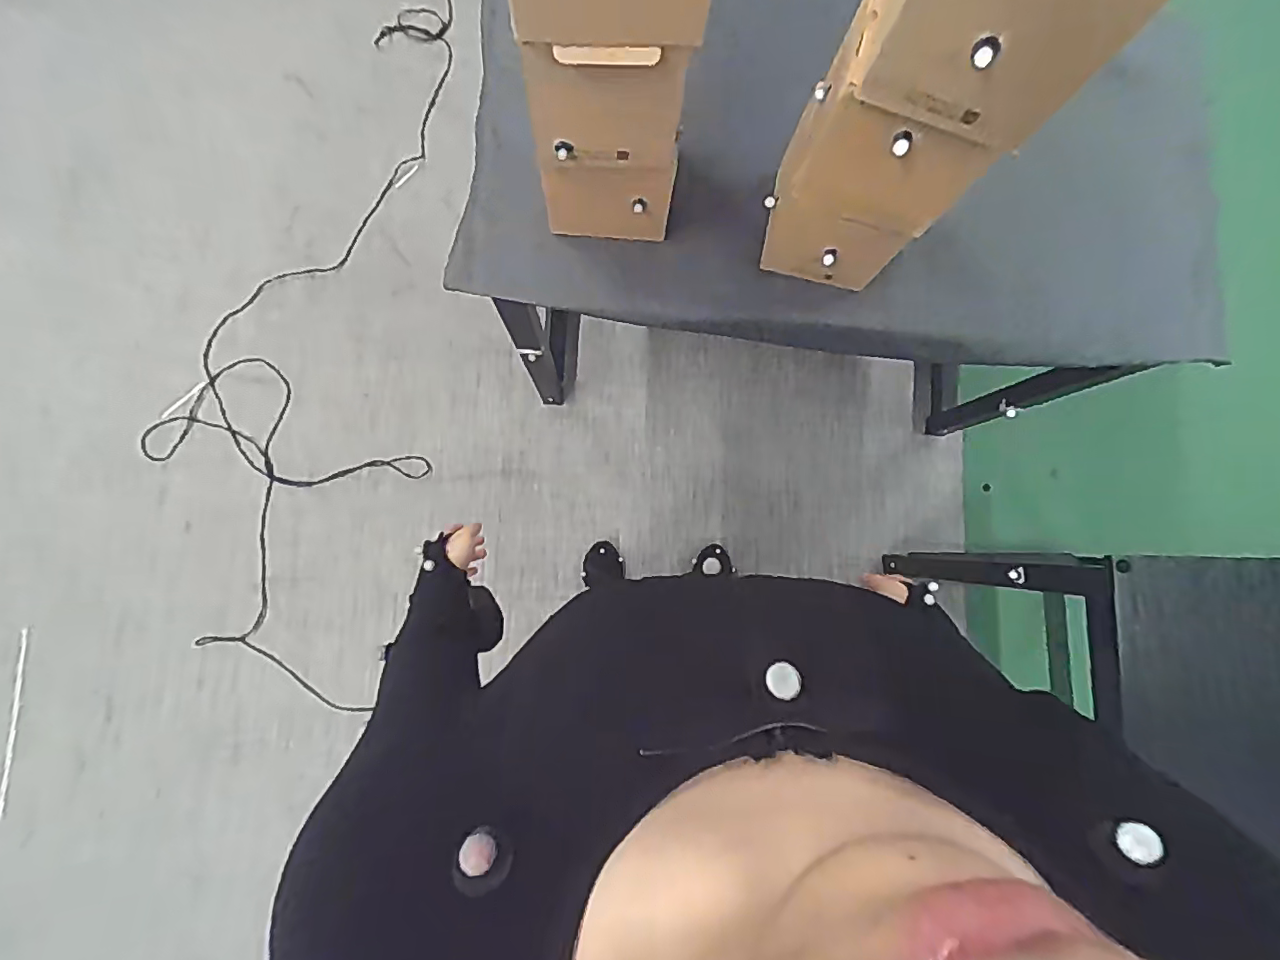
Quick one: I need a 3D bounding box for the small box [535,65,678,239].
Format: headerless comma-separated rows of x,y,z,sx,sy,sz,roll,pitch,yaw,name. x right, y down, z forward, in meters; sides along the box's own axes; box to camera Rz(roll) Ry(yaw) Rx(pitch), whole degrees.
-0.045,-0.460,0.759,0.179,0.176,0.168,2,81,-2,small box

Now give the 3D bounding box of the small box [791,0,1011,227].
0.294,-0.417,0.603,0.179,0.176,0.168,17,82,0,small box

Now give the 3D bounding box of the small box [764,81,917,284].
0.284,-0.405,0.766,0.168,0.176,0.179,12,83,-1,small box

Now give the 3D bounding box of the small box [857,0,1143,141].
0.301,-0.425,0.438,0.168,0.176,0.179,19,82,0,small box

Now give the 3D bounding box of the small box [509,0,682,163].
-0.046,-0.481,0.596,0.168,0.176,0.179,-2,81,-4,small box
